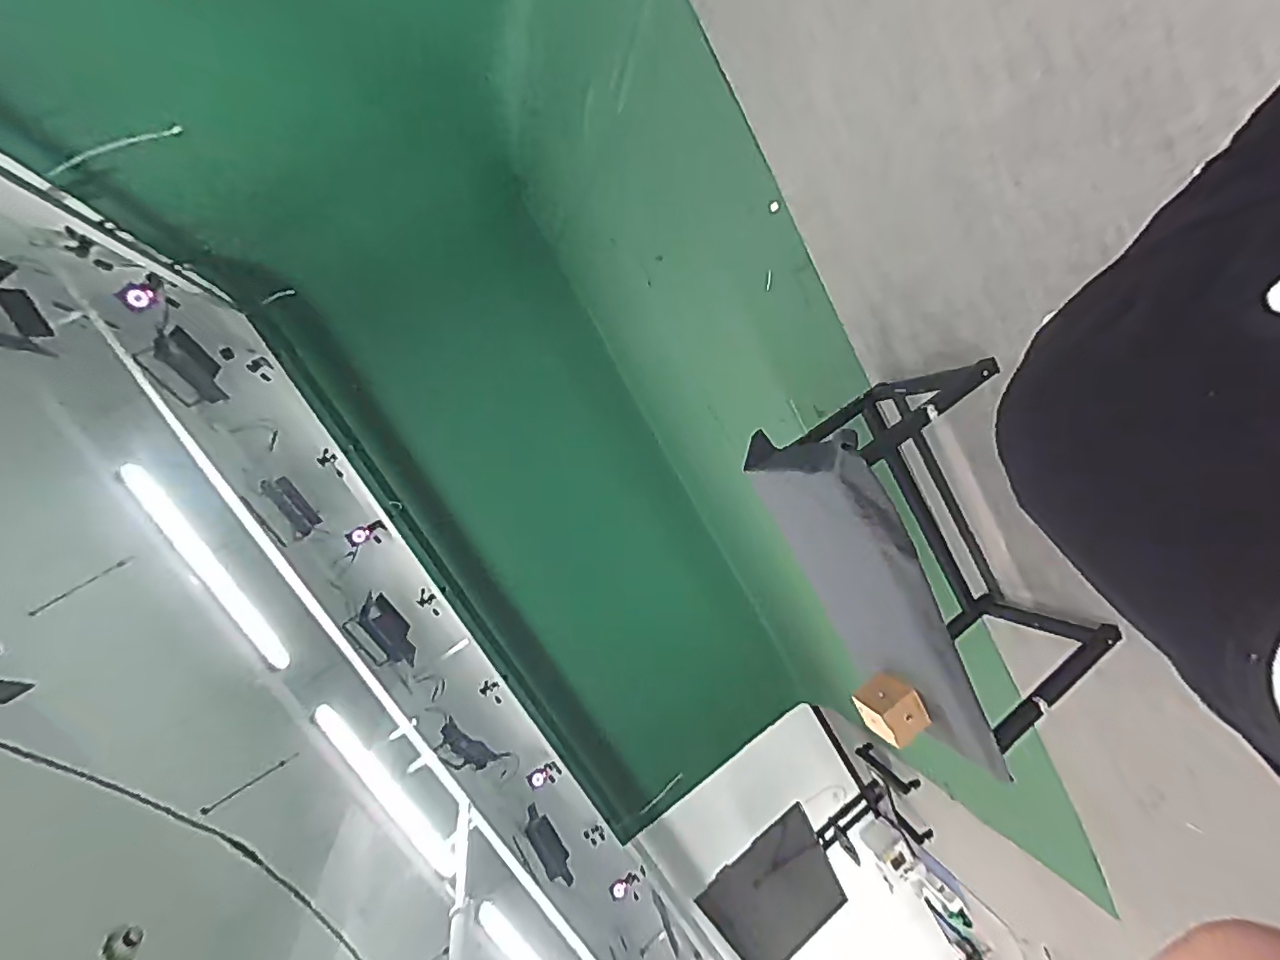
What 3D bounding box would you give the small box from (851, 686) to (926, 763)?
[{"bbox_3d":[0.943,0.912,2.036,0.168,0.176,0.179,61,166,-11],"label":"small box"}]
